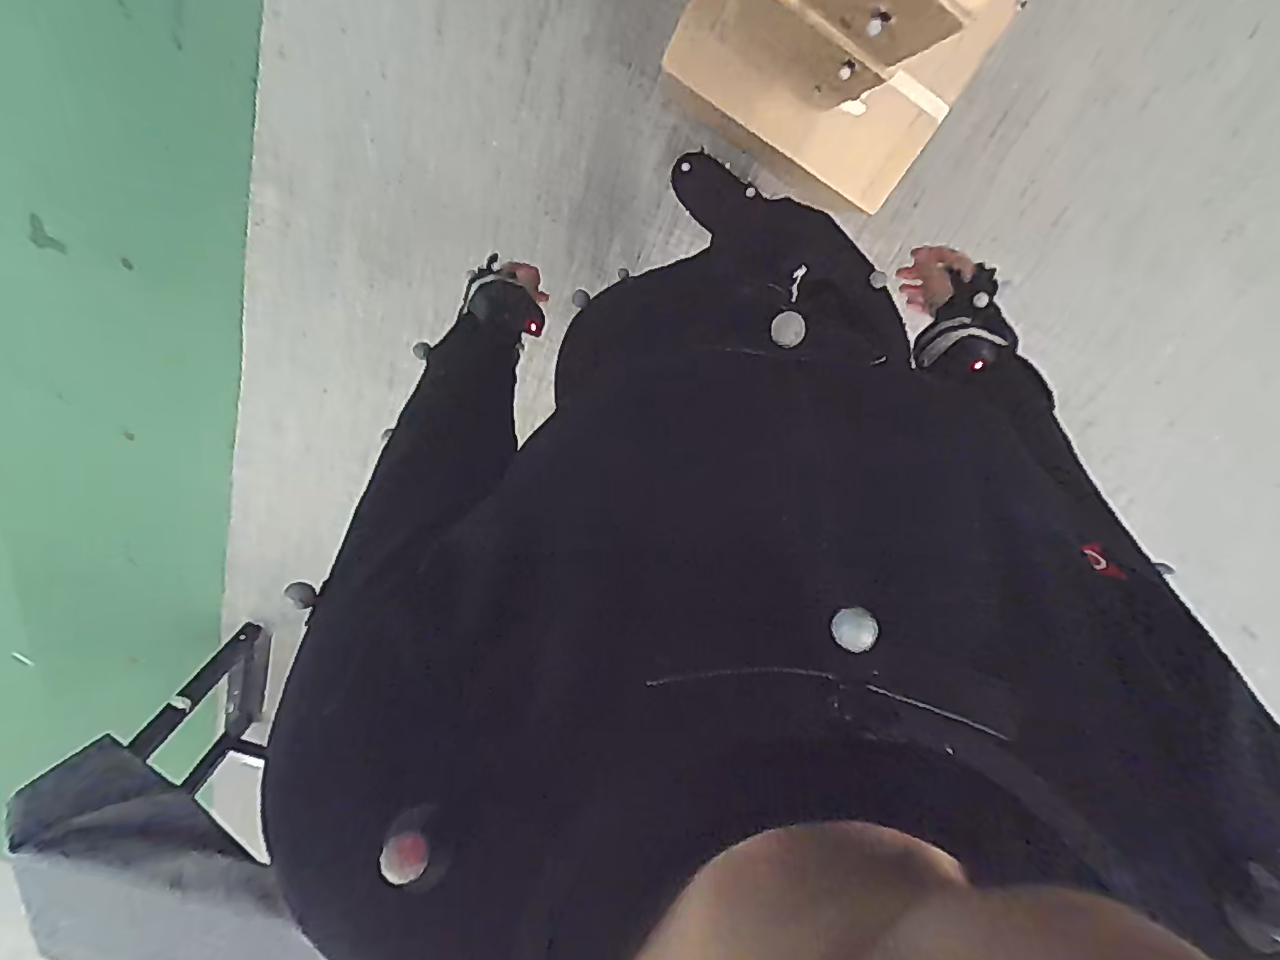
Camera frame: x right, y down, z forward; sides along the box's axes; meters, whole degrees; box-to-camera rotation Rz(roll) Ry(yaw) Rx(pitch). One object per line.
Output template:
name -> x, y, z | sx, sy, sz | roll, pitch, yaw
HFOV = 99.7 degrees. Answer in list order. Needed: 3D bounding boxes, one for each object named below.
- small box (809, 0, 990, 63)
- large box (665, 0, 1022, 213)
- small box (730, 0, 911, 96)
small box -> 0.204, -0.449, 0.388 | 0.168, 0.176, 0.179 | 28, 115, -13
large box -> 0.284, -0.700, 0.895 | 0.408, 0.320, 0.320 | 27, 117, -12
small box -> 0.206, -0.517, 0.536 | 0.179, 0.176, 0.168 | 25, 117, -11
